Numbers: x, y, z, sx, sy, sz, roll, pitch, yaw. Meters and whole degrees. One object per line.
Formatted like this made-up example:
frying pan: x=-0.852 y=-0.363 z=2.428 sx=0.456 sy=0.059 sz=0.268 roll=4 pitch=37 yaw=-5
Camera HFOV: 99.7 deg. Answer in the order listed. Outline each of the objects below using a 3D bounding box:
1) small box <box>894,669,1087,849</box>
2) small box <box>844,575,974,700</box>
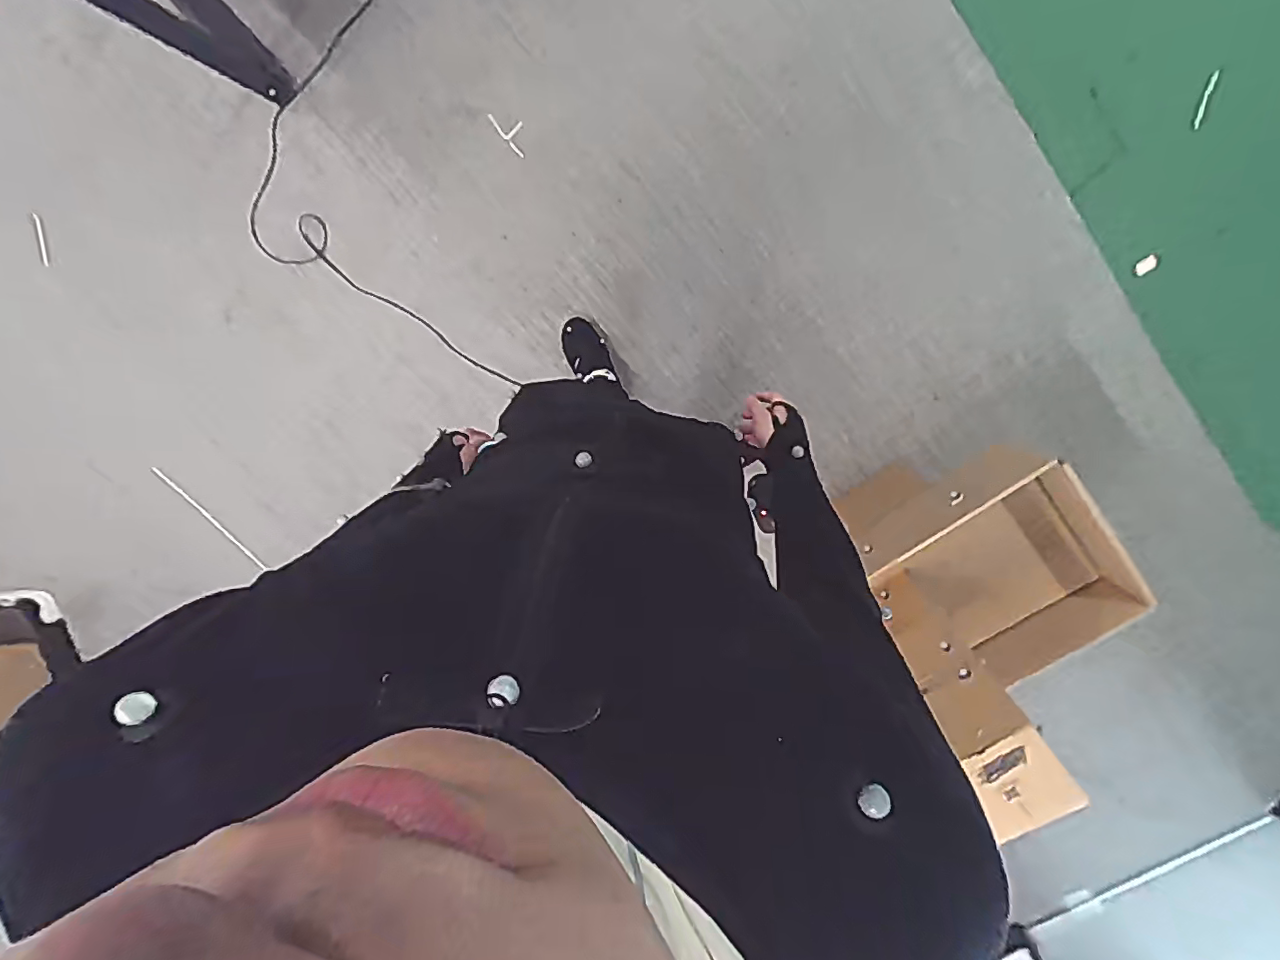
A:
small box: x=0.551 y=0.437 z=0.879 sx=0.168 sy=0.176 sz=0.179 roll=-37 pitch=101 yaw=14
small box: x=0.582 y=0.343 z=1.193 sx=0.168 sy=0.176 sz=0.179 roll=-36 pitch=100 yaw=14
